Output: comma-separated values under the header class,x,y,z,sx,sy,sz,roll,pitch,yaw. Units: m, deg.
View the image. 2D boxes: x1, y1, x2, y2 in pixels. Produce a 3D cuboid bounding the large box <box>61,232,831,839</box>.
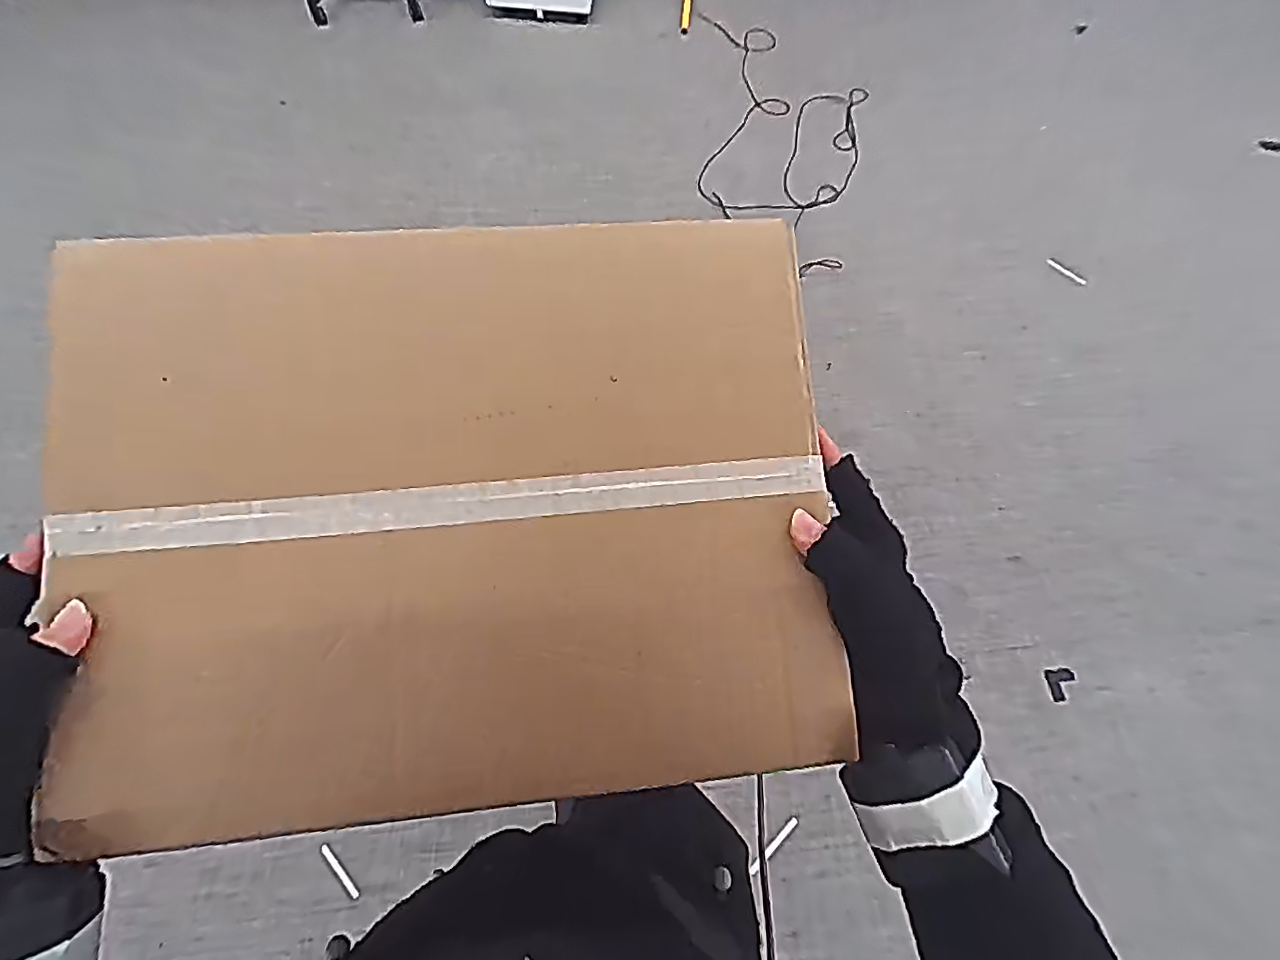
class,x,y,z,sx,sy,sz,roll,pitch,yaw
large box,-0.111,0.028,0.449,0.408,0.320,0.320,-4,83,-5
